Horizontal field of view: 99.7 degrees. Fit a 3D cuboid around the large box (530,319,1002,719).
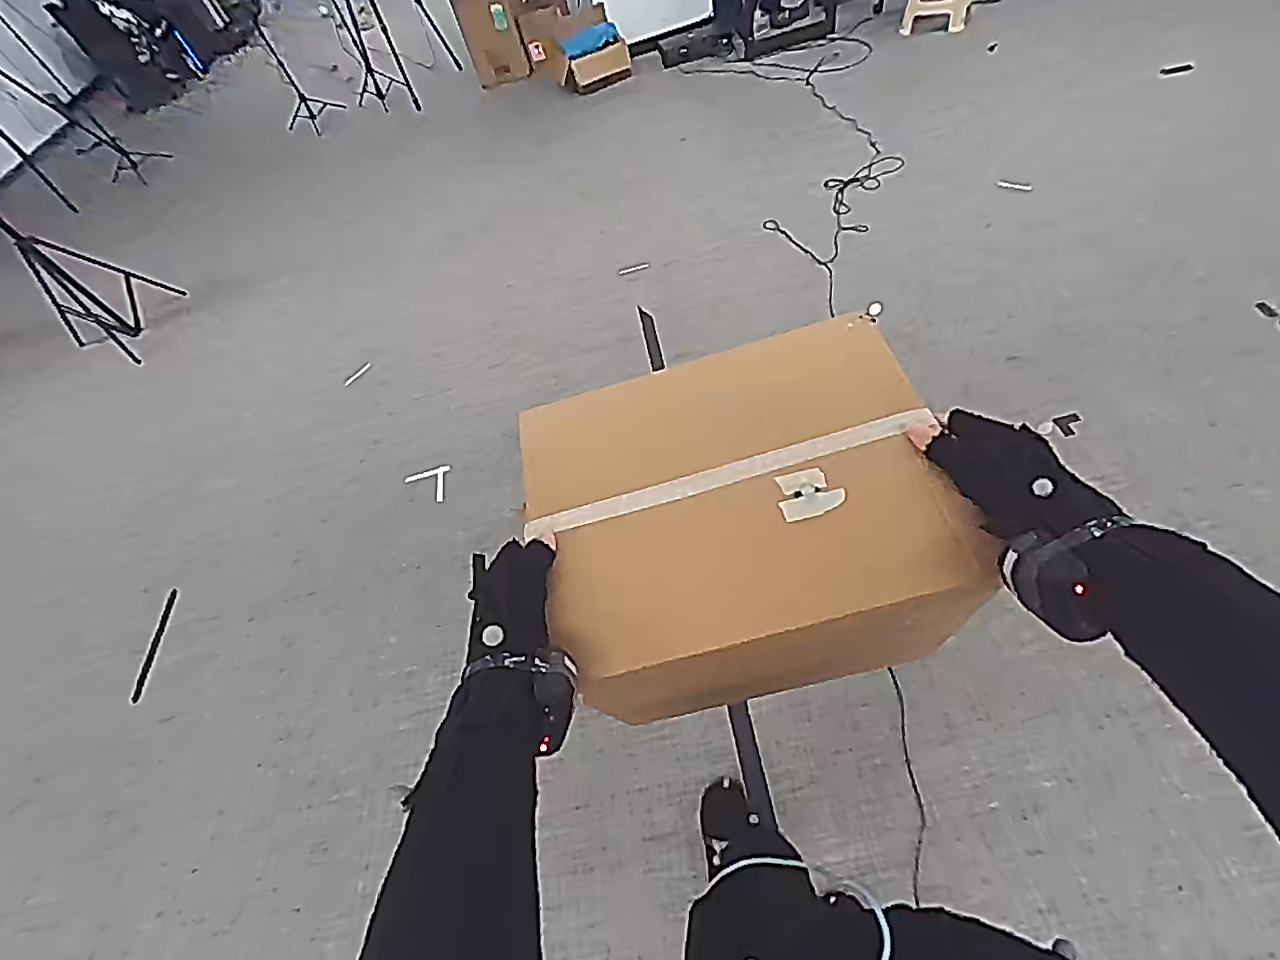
[{"bbox_3d":[0.118,0.071,0.671,0.408,0.320,0.320,-16,58,4],"label":"large box"}]
